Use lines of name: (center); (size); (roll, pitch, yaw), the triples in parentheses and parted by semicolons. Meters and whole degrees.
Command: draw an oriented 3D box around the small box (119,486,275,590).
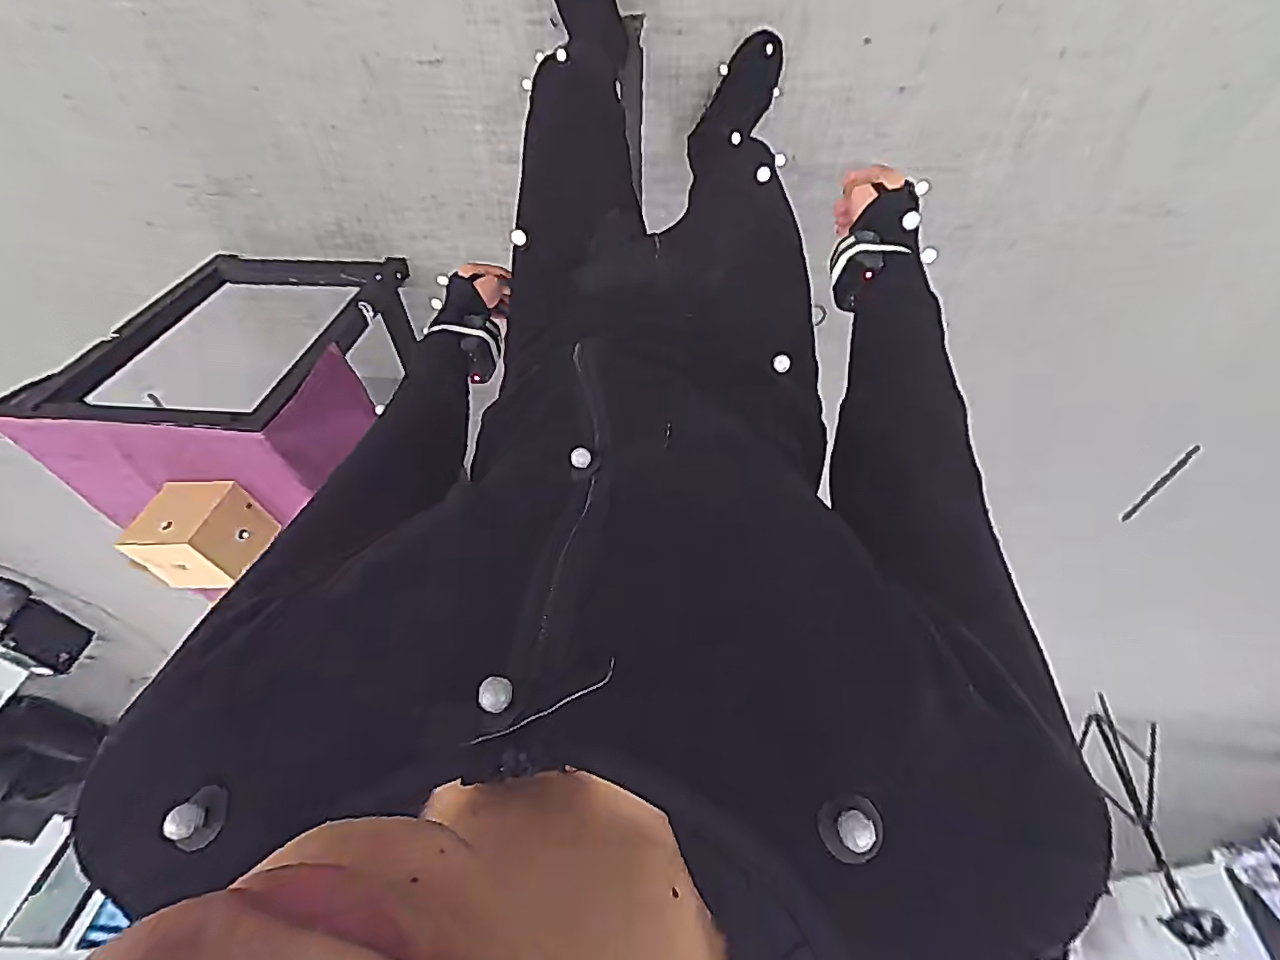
small box: (-0.942, 0.124, 1.178); (0.179, 0.176, 0.168); (-1, 138, 10)
